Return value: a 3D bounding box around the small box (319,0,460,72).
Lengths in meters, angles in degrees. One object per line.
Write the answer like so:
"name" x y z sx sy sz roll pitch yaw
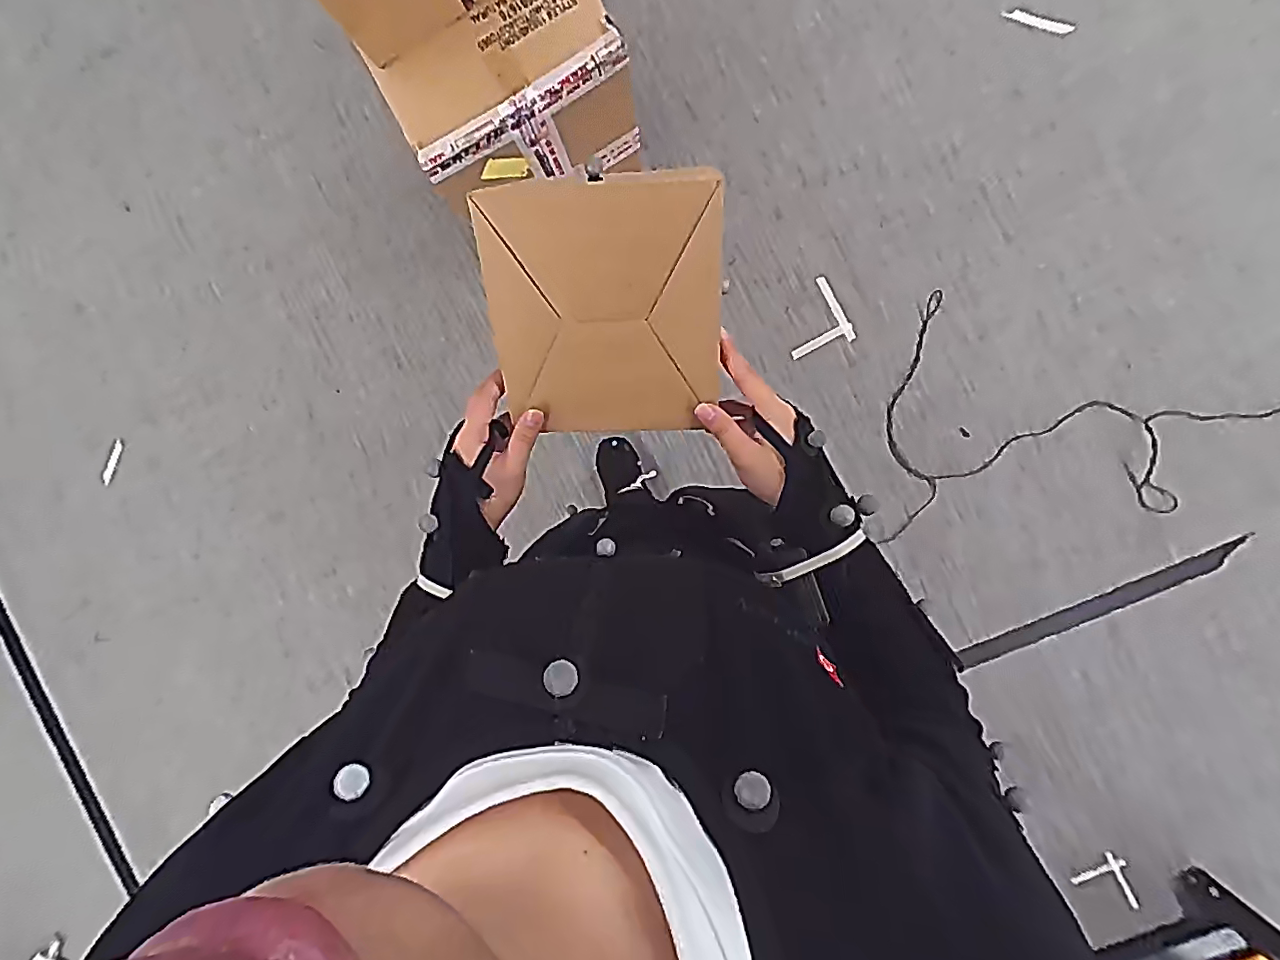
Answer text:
"small box" -0.398 -0.781 0.815 0.179 0.176 0.168 -26 90 7
